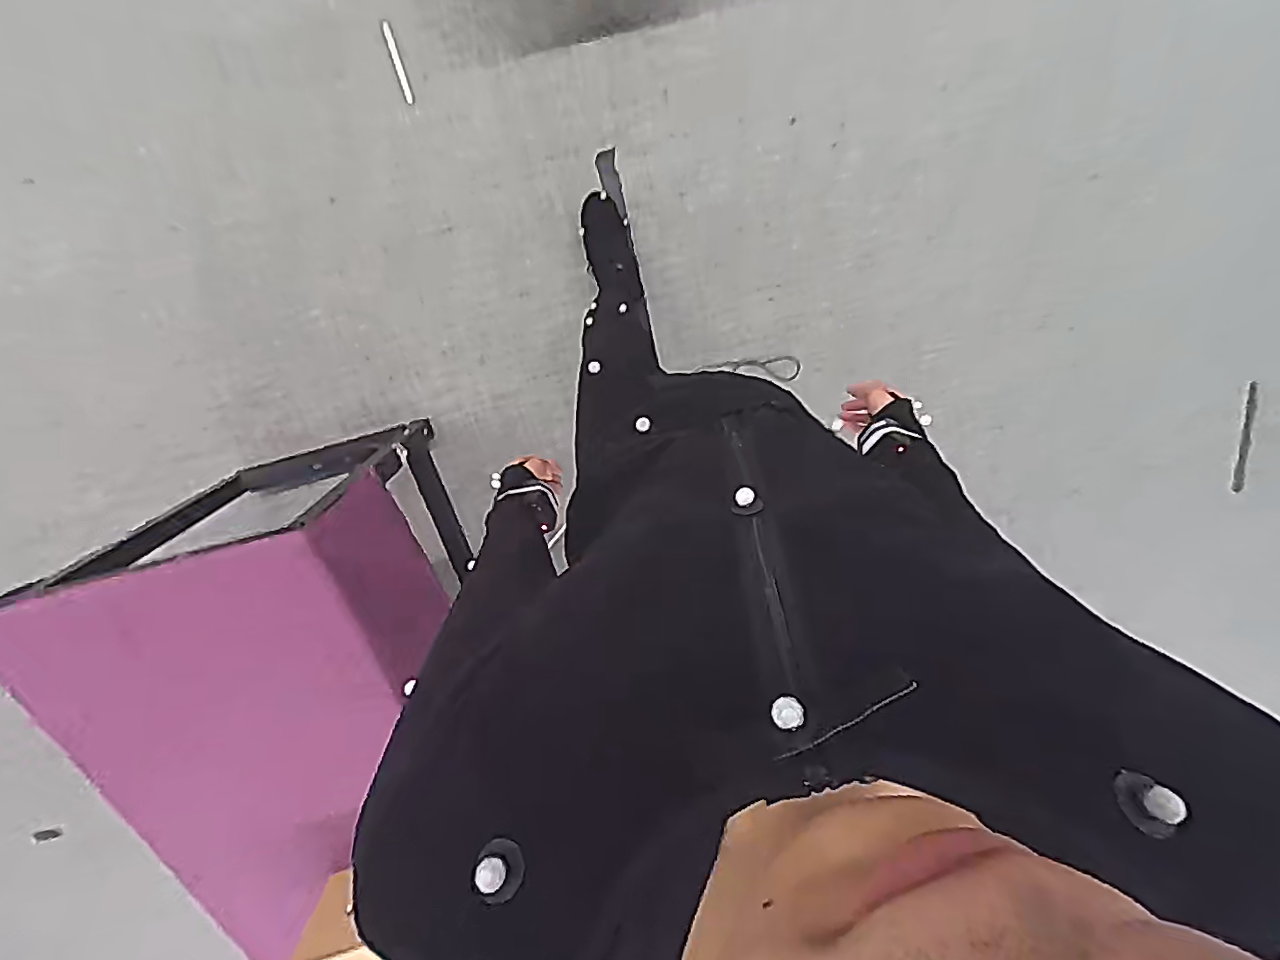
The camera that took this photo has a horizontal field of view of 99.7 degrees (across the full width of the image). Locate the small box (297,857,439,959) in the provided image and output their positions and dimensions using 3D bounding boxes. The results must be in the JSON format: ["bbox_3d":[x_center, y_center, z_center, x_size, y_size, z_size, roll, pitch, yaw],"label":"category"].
[{"bbox_3d":[-0.535,0.909,1.088,0.179,0.176,0.168,-19,112,2],"label":"small box"}]
